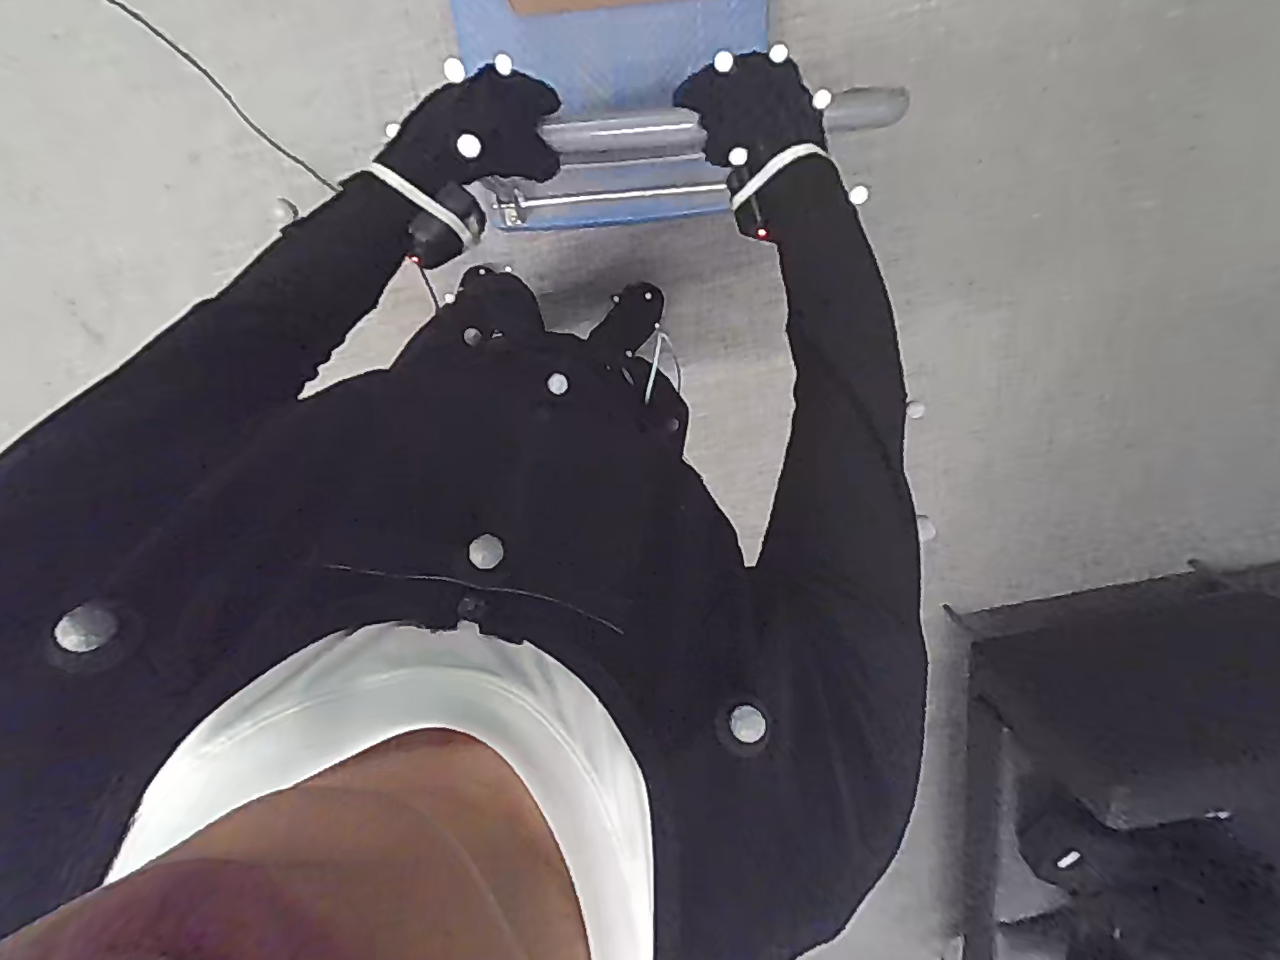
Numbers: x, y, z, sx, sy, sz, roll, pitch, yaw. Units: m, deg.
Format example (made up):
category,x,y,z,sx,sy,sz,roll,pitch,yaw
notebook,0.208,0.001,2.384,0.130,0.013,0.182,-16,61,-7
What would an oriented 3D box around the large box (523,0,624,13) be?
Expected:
category,x,y,z,sx,sy,sz,roll,pitch,yaw
large box,-0.022,-0.953,0.791,0.408,0.320,0.320,-7,114,1
